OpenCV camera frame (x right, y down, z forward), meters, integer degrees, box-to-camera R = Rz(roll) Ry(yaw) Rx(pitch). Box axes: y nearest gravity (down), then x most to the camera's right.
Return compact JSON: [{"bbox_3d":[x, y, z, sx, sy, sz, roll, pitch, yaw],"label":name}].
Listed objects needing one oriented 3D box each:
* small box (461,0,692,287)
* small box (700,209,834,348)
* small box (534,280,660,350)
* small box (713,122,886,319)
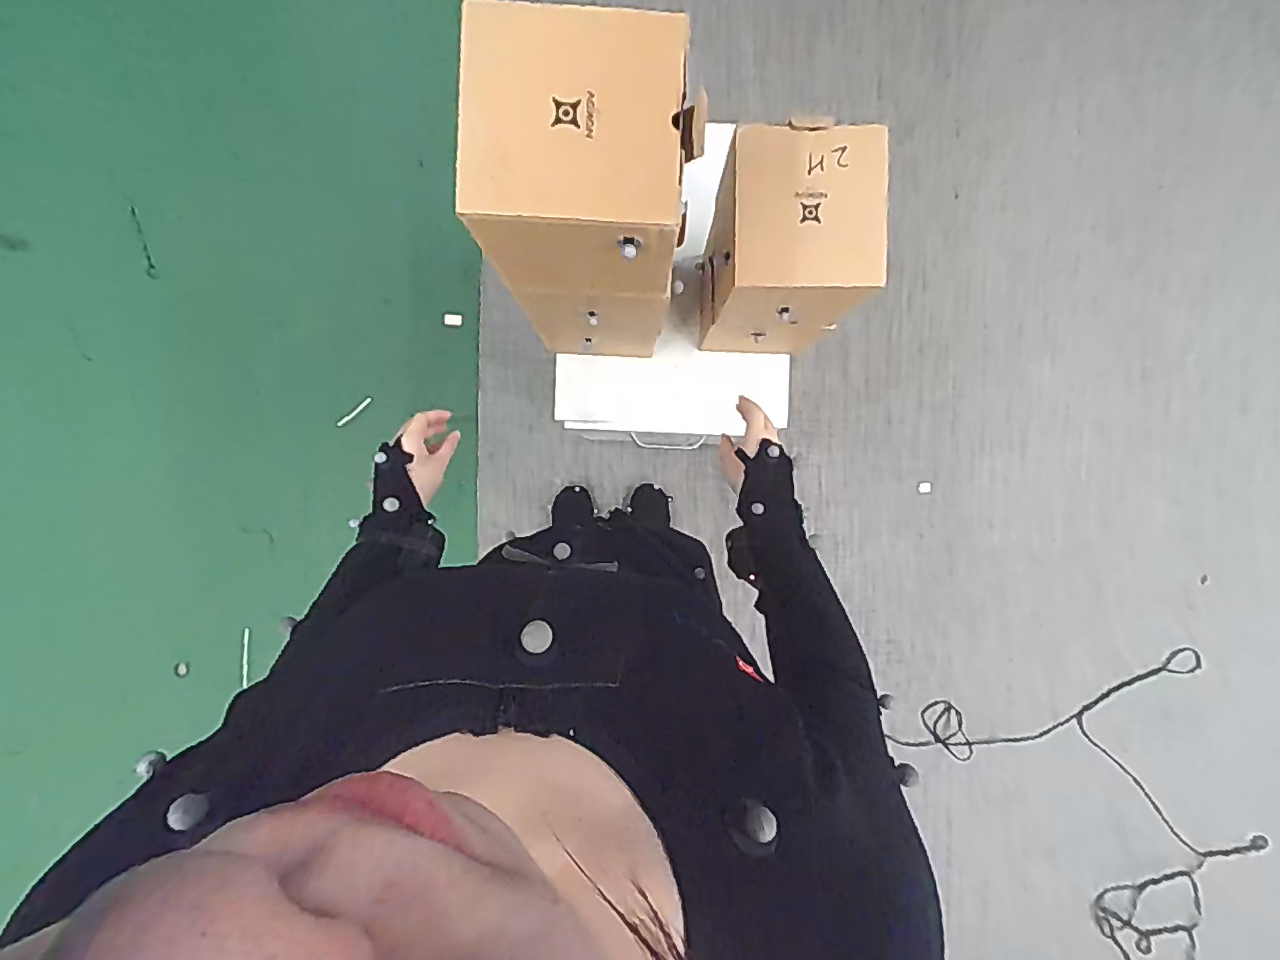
[{"bbox_3d":[-0.051,-0.289,0.501,0.179,0.176,0.168,2,91,-3],"label":"small box"},{"bbox_3d":[0.188,-0.304,0.832,0.179,0.176,0.168,2,92,-1],"label":"small box"},{"bbox_3d":[-0.059,-0.299,0.827,0.179,0.176,0.168,2,92,-2],"label":"small box"},{"bbox_3d":[0.184,-0.303,0.667,0.168,0.176,0.179,0,92,0],"label":"small box"}]
